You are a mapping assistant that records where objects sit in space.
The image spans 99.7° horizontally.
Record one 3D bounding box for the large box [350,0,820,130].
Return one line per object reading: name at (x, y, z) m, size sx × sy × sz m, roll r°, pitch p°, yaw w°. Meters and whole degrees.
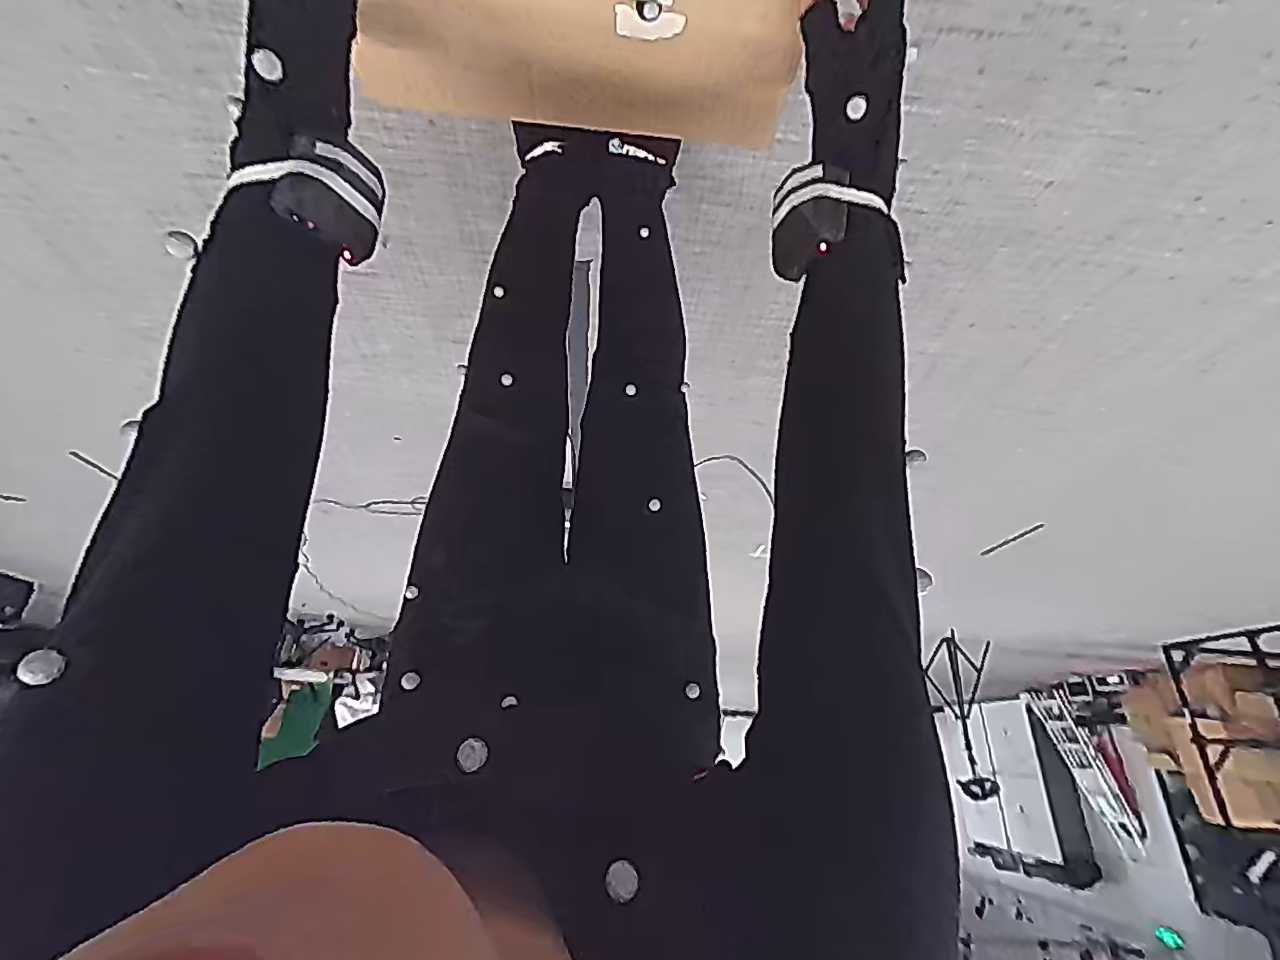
large box at (-0.041, -0.562, 0.465) m, size 0.408 × 0.320 × 0.320 m, roll 3°, pitch 155°, yaw -4°
